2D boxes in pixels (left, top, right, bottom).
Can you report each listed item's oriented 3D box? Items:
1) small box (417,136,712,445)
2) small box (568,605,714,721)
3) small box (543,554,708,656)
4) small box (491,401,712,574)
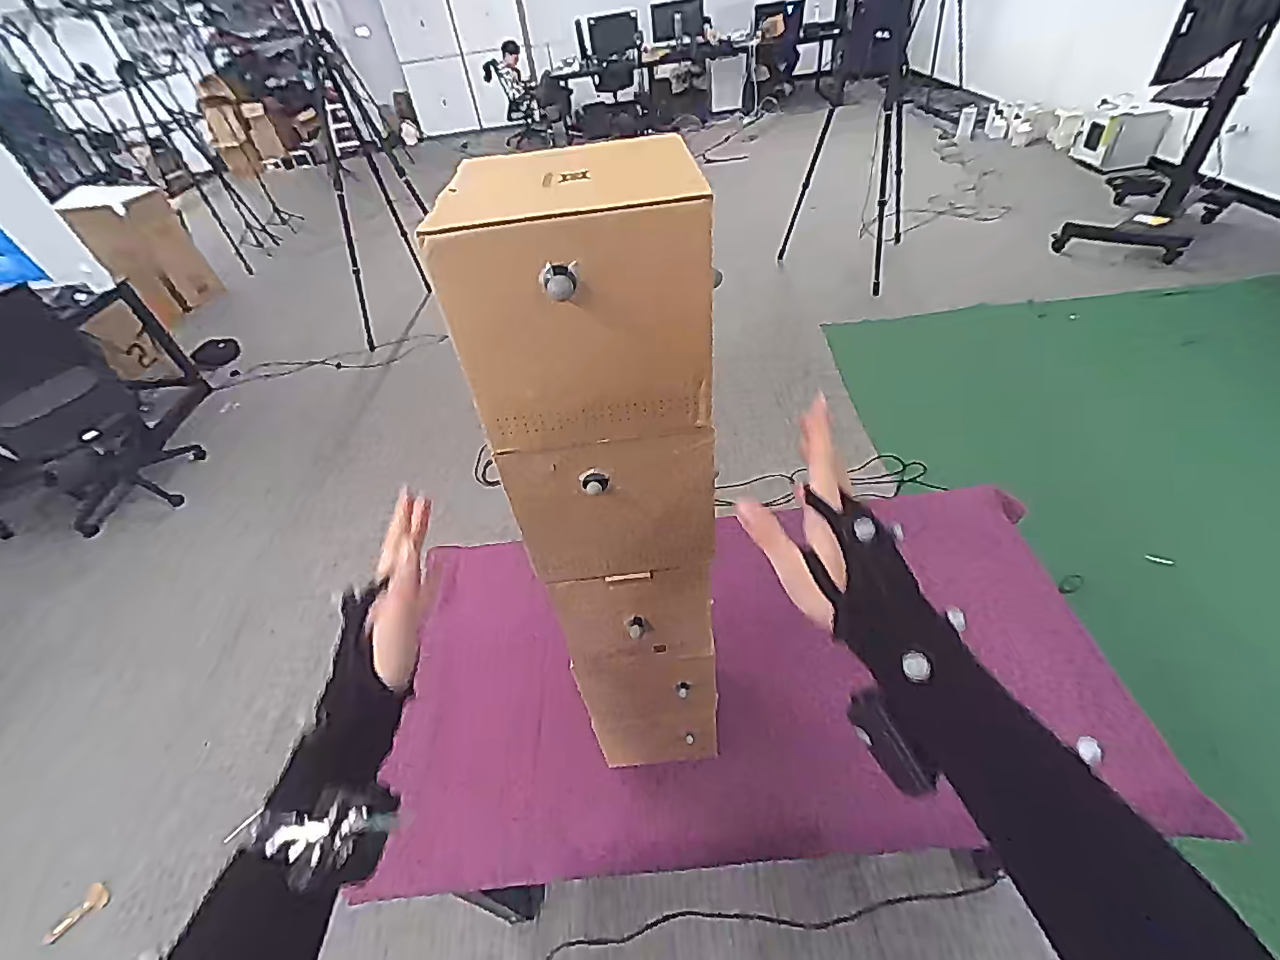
[{"bbox_3d":[-0.041,-0.145,0.424,0.179,0.176,0.168,-7,43,2],"label":"small box"},{"bbox_3d":[0.006,0.216,0.751,0.179,0.176,0.168,-6,43,3],"label":"small box"},{"bbox_3d":[-0.012,0.094,0.645,0.168,0.176,0.179,-7,43,1],"label":"small box"},{"bbox_3d":[-0.028,-0.024,0.531,0.179,0.176,0.168,-6,42,1],"label":"small box"}]
